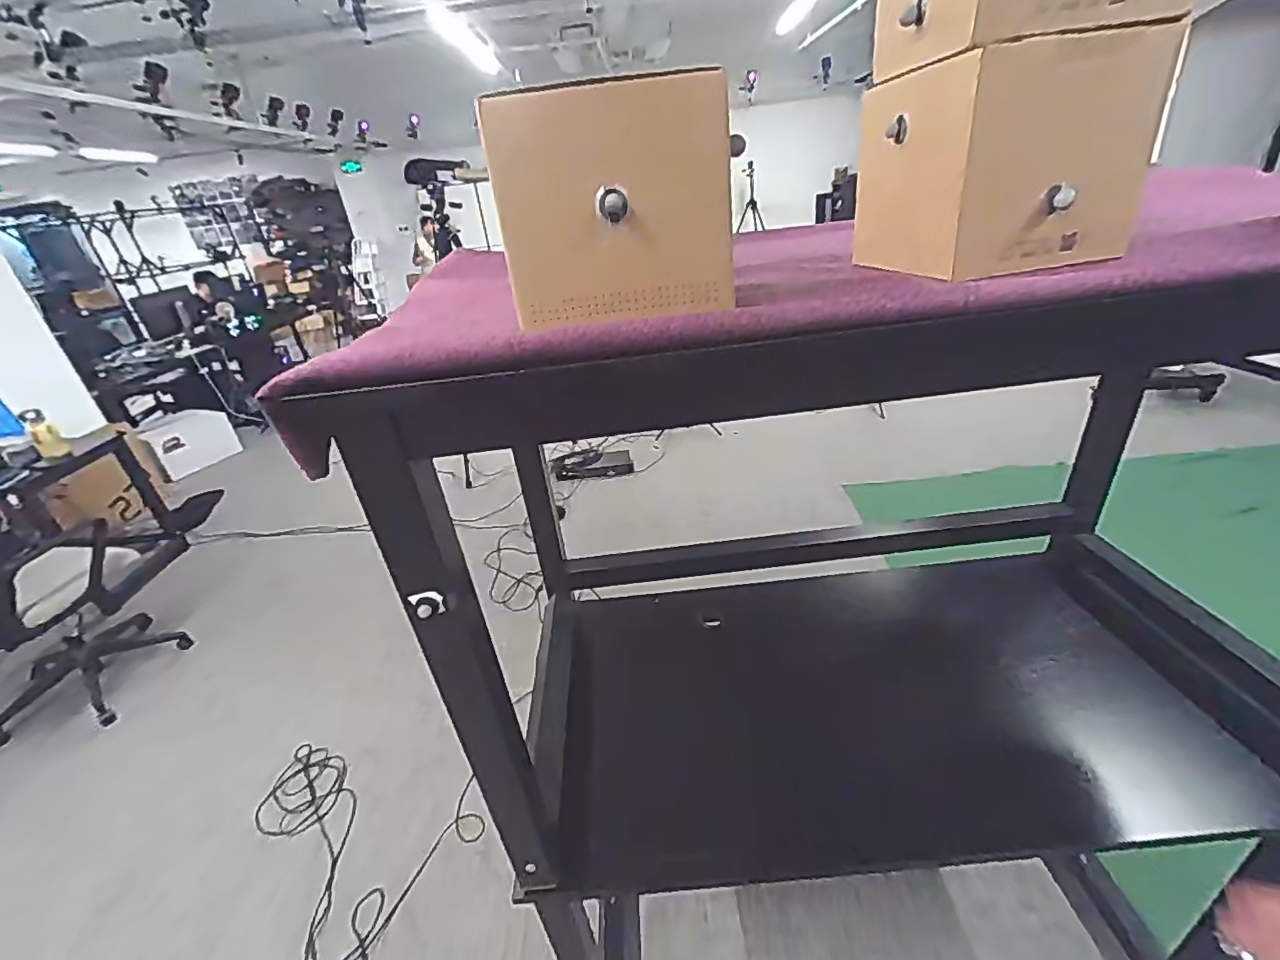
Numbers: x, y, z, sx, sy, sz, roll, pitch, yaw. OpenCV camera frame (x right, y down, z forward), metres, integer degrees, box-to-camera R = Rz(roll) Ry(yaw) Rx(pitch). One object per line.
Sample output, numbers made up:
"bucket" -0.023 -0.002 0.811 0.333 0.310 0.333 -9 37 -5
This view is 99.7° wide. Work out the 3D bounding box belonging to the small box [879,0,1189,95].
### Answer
"small box" 0.314 -0.433 0.435 0.168 0.176 0.179 -7 28 0
